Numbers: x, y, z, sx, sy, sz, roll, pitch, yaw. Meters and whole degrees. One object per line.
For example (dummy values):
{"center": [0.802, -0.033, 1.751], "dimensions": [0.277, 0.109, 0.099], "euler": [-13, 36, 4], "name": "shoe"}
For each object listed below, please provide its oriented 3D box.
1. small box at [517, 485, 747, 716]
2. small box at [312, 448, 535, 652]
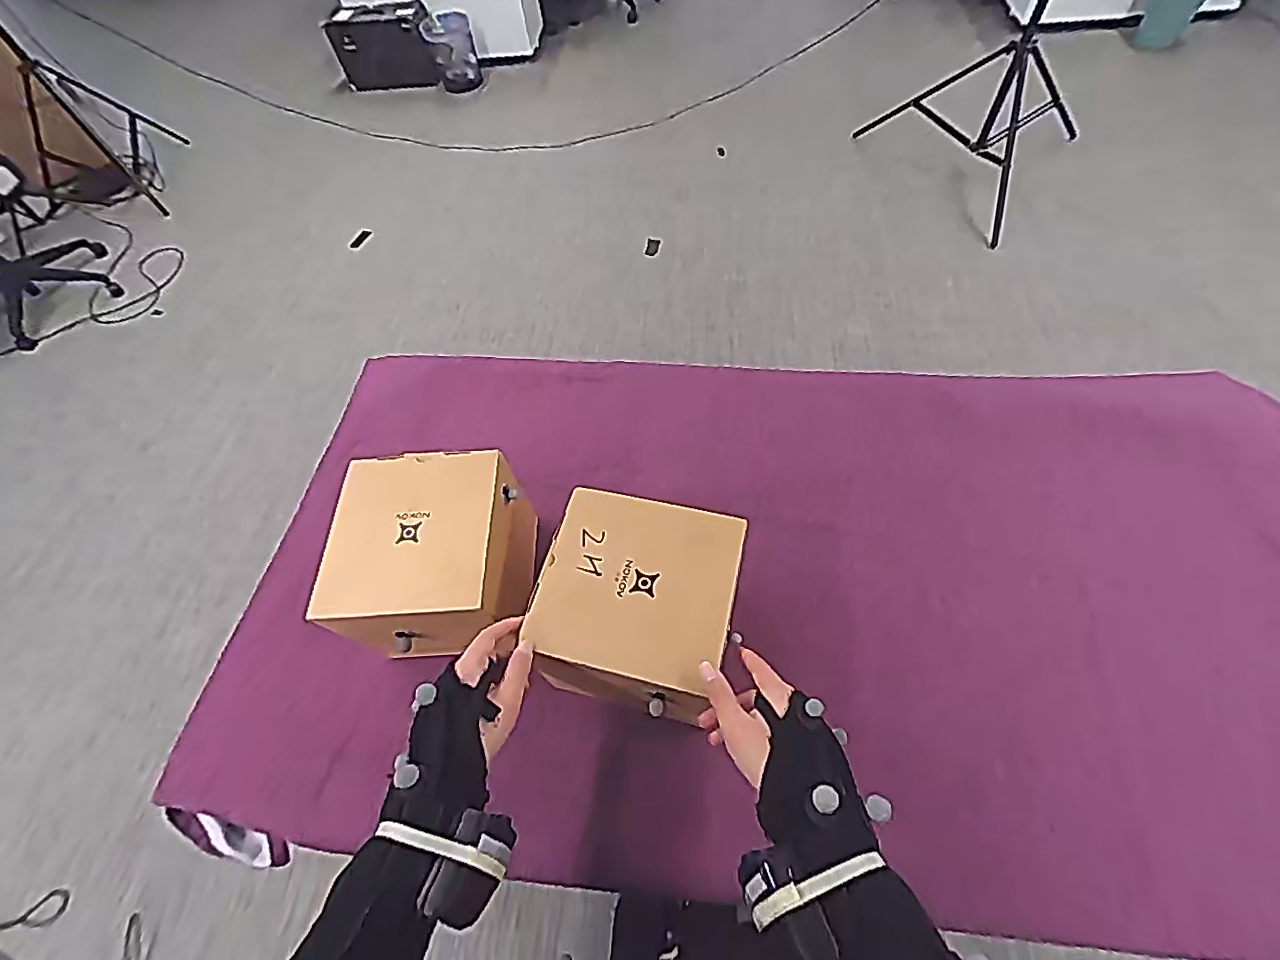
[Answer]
{"center": [0.004, 0.130, 0.554], "dimensions": [0.179, 0.176, 0.168], "euler": [10, 59, 12], "name": "small box"}
{"center": [-0.219, 0.088, 0.604], "dimensions": [0.168, 0.176, 0.179], "euler": [-5, 58, 3], "name": "small box"}
